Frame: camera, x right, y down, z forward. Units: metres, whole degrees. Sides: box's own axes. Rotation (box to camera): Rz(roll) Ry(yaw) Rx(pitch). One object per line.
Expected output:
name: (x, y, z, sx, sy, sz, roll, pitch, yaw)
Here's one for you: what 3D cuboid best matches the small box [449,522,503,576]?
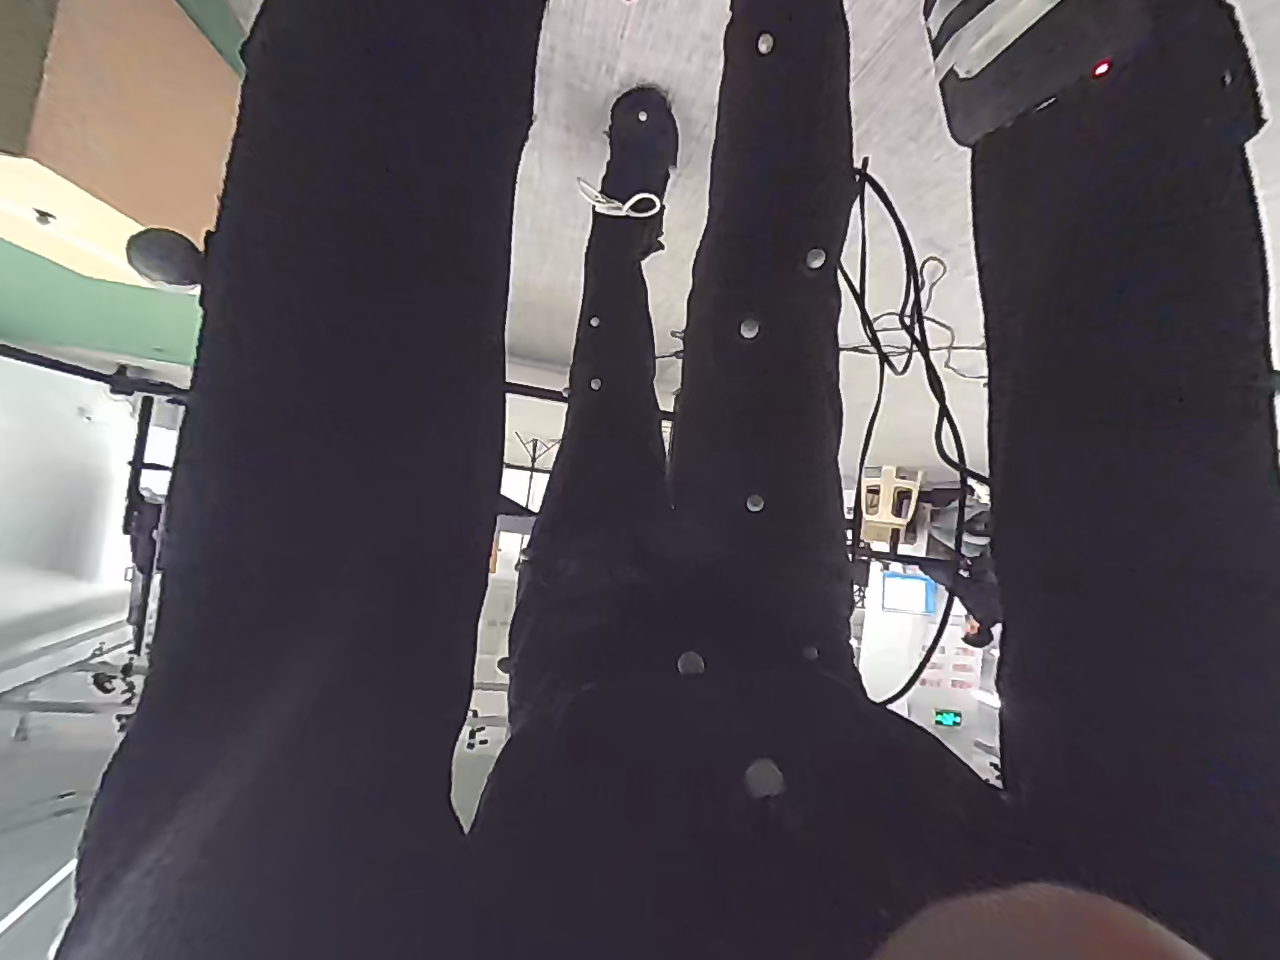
small box: (-0.619, 0.259, 2.049, 0.179, 0.176, 0.168, 9, 177, -16)
